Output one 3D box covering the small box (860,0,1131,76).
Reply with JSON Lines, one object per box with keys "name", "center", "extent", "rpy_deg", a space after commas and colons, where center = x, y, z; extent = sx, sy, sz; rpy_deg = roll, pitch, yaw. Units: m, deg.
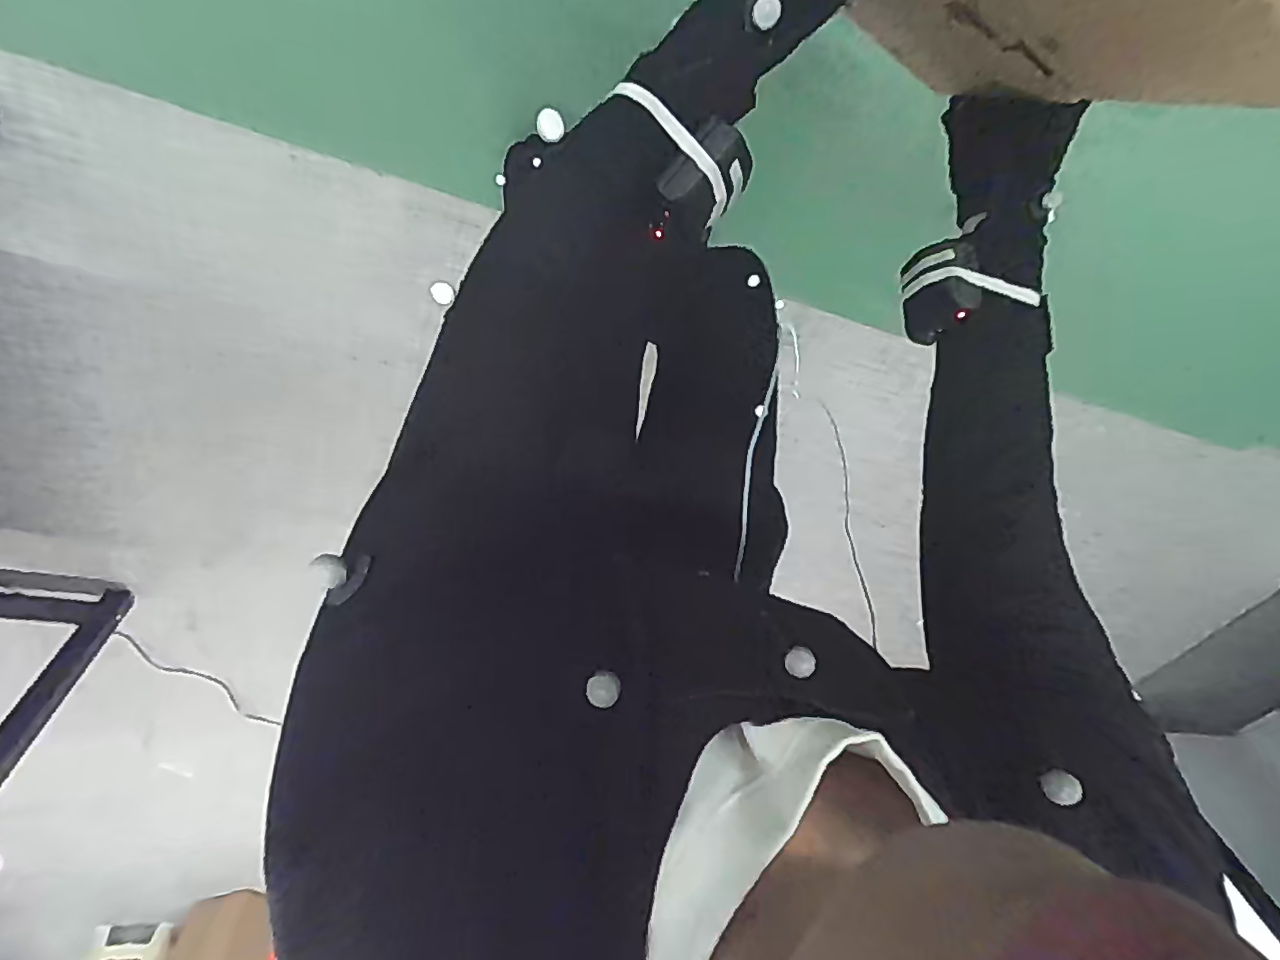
{"name": "small box", "center": [0.235, -0.395, 0.339], "extent": [0.168, 0.176, 0.179], "rpy_deg": [19, 122, -22]}
